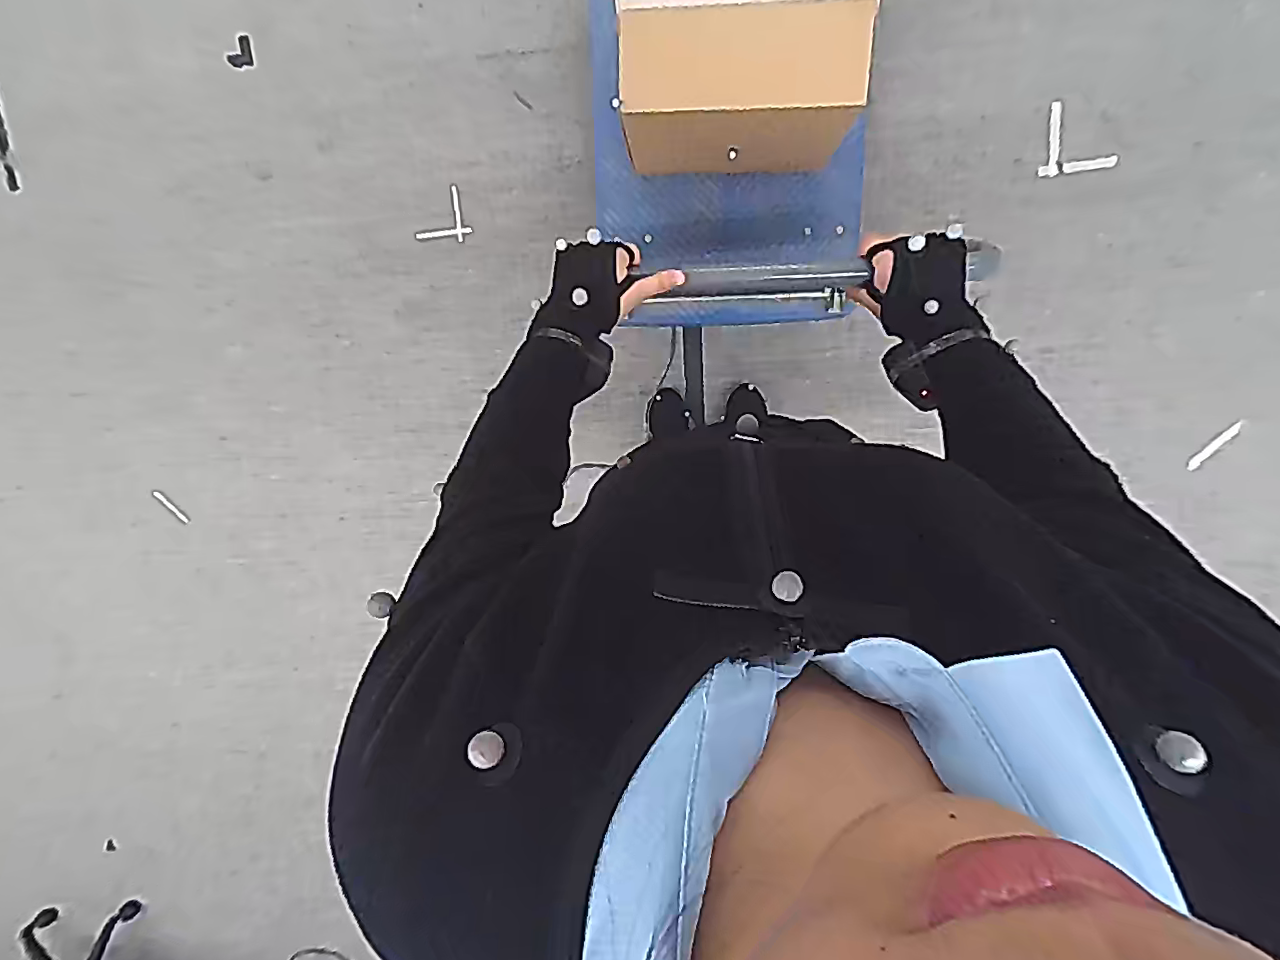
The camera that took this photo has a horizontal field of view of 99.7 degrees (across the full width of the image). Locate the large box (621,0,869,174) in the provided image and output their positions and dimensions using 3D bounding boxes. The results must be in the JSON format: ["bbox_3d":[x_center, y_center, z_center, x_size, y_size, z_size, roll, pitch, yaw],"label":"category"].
[{"bbox_3d":[0.182,-0.798,1.016,0.408,0.320,0.320,1,101,5],"label":"large box"}]
